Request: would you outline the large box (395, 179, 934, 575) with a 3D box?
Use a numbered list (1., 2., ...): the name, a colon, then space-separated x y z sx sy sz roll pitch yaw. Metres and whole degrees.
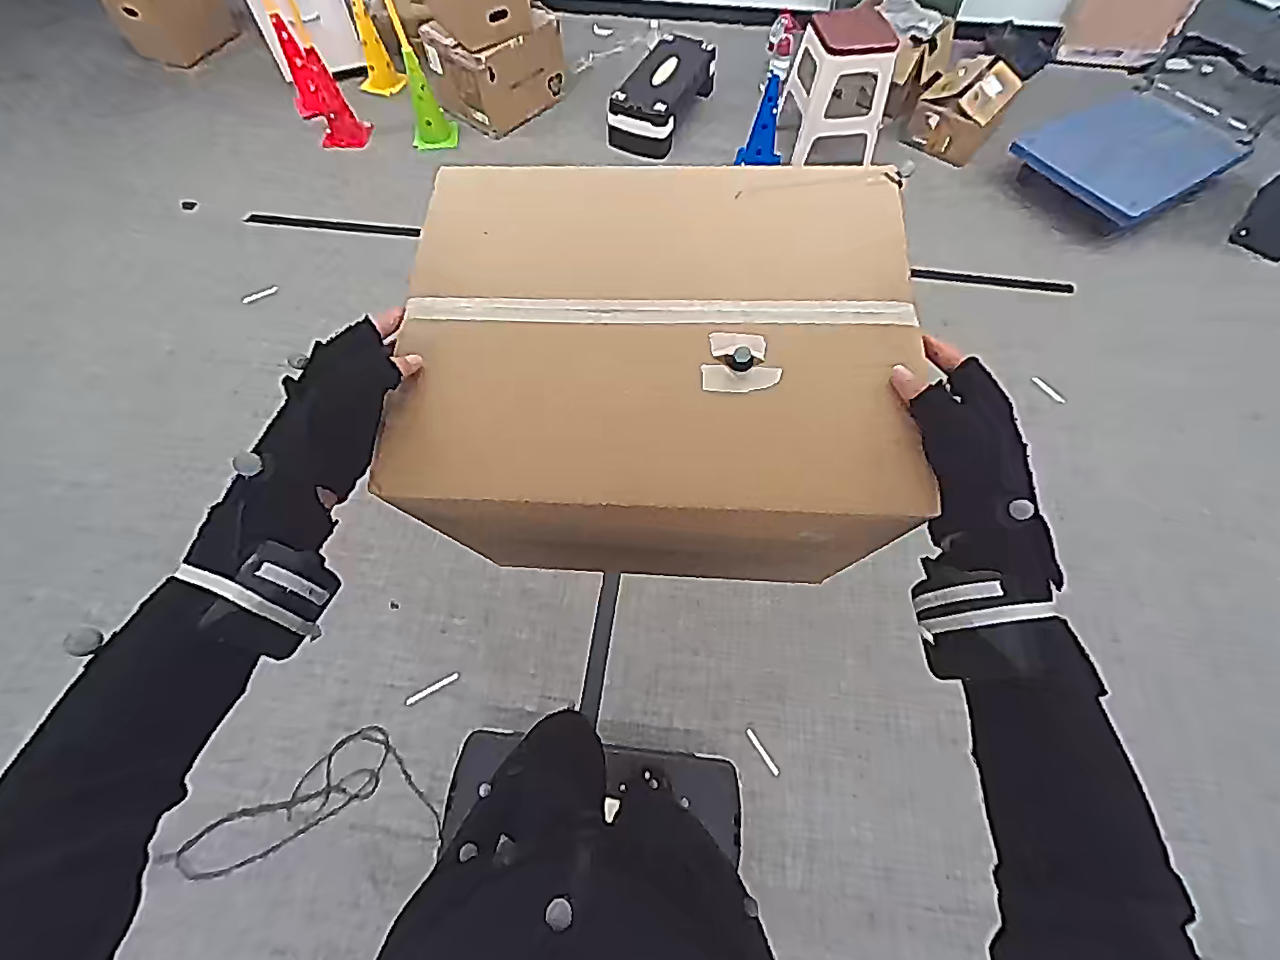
1. large box: 0.023 -0.080 0.582 0.408 0.320 0.320 2 72 3
